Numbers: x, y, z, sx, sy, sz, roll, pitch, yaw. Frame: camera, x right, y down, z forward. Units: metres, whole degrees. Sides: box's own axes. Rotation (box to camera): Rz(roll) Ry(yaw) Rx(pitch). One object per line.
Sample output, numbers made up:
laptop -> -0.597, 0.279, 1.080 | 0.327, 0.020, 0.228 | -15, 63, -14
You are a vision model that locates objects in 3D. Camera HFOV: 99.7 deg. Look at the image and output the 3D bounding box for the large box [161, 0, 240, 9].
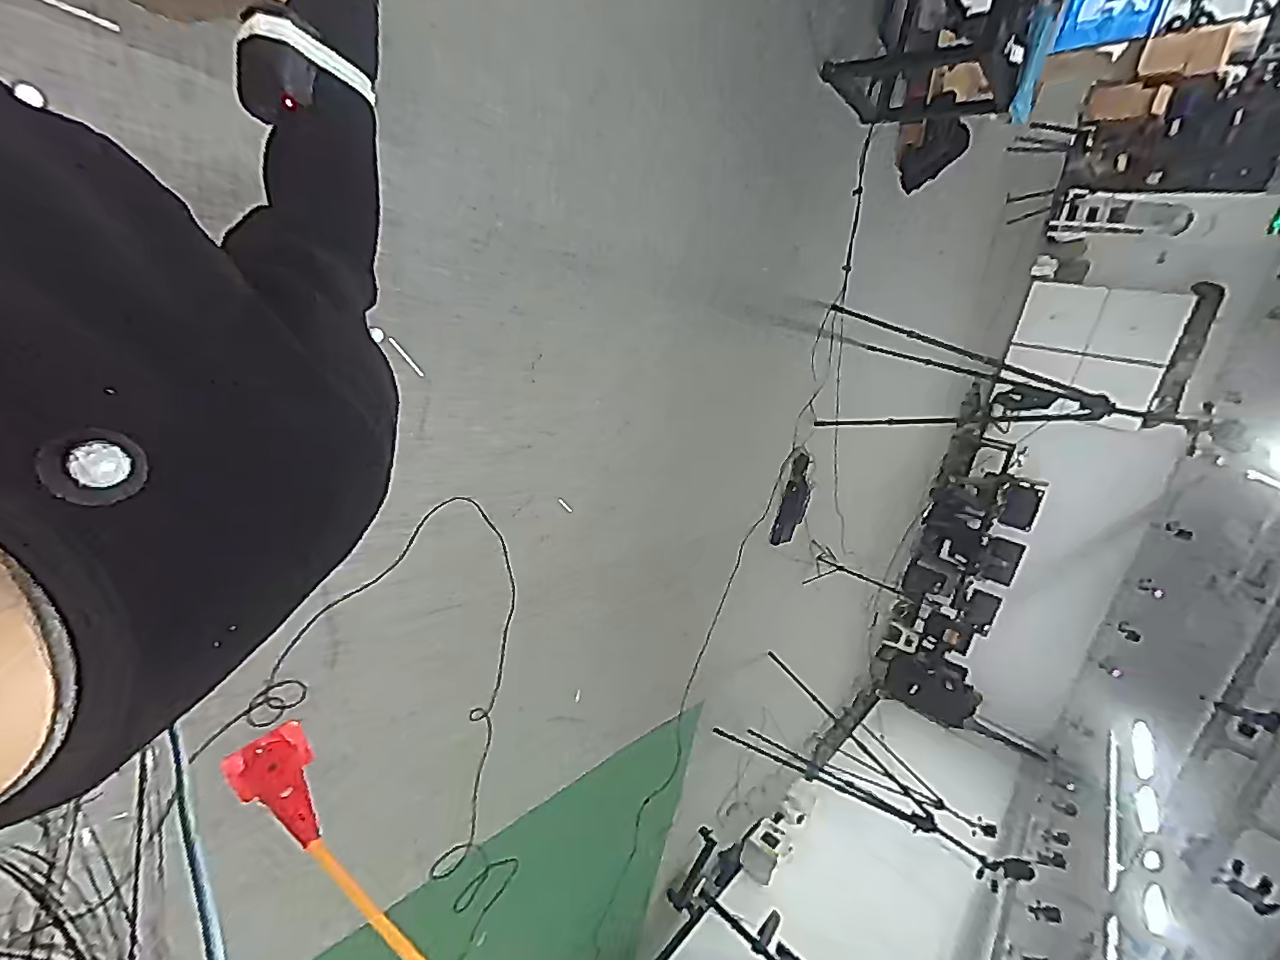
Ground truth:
large box -> -0.463, -0.551, 0.301 | 0.408, 0.320, 0.320 | -10, 121, -49
